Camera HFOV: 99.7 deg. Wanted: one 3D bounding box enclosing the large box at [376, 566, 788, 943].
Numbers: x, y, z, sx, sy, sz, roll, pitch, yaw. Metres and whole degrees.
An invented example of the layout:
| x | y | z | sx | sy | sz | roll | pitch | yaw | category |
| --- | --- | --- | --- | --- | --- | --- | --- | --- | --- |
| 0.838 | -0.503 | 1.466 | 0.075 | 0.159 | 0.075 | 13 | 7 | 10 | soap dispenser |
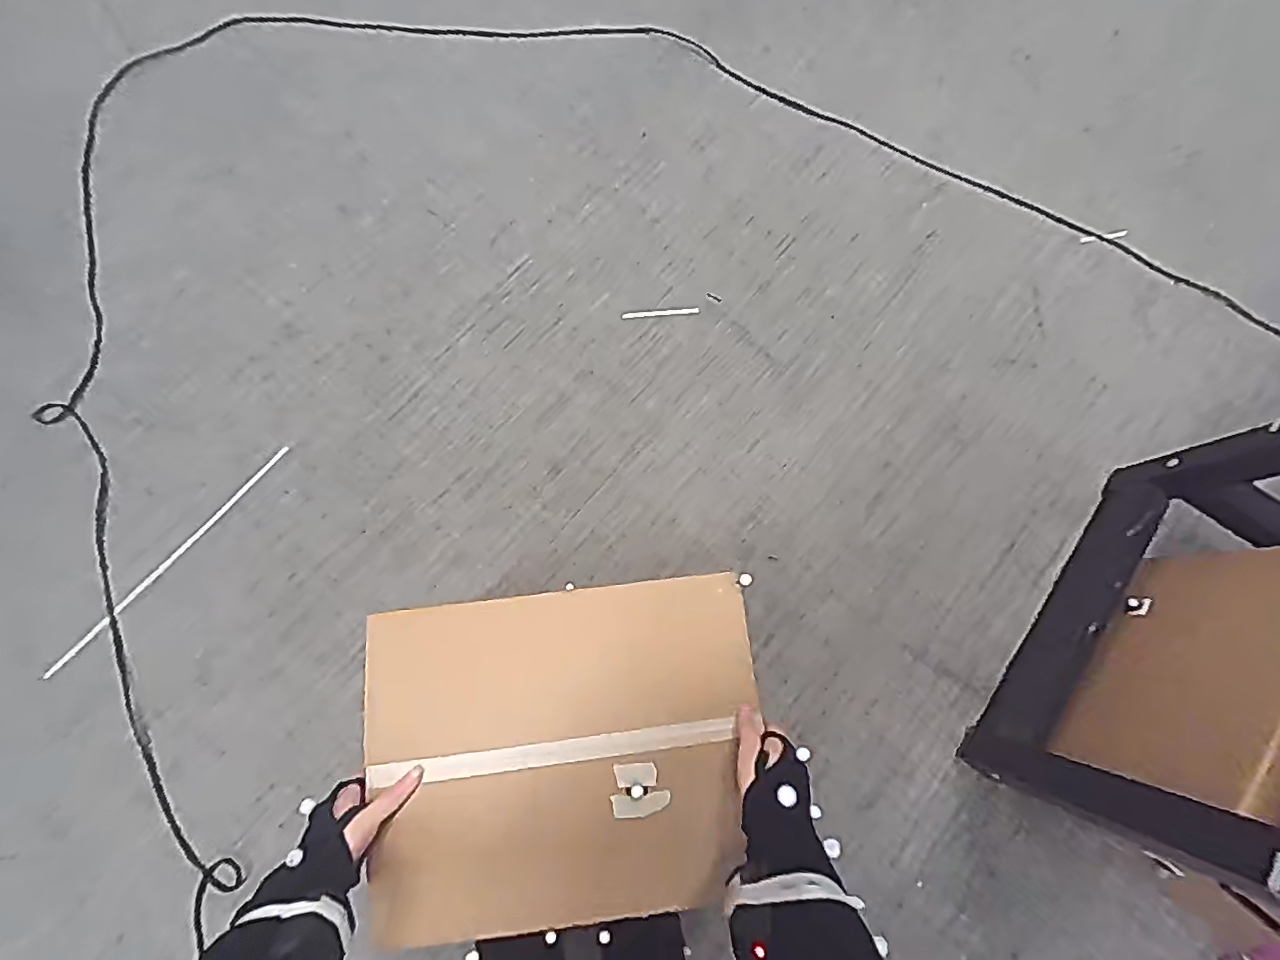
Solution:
| x | y | z | sx | sy | sz | roll | pitch | yaw | category |
| --- | --- | --- | --- | --- | --- | --- | --- | --- | --- |
| -0.073 | 0.303 | 0.699 | 0.408 | 0.320 | 0.320 | -6 | 77 | -3 | large box |
